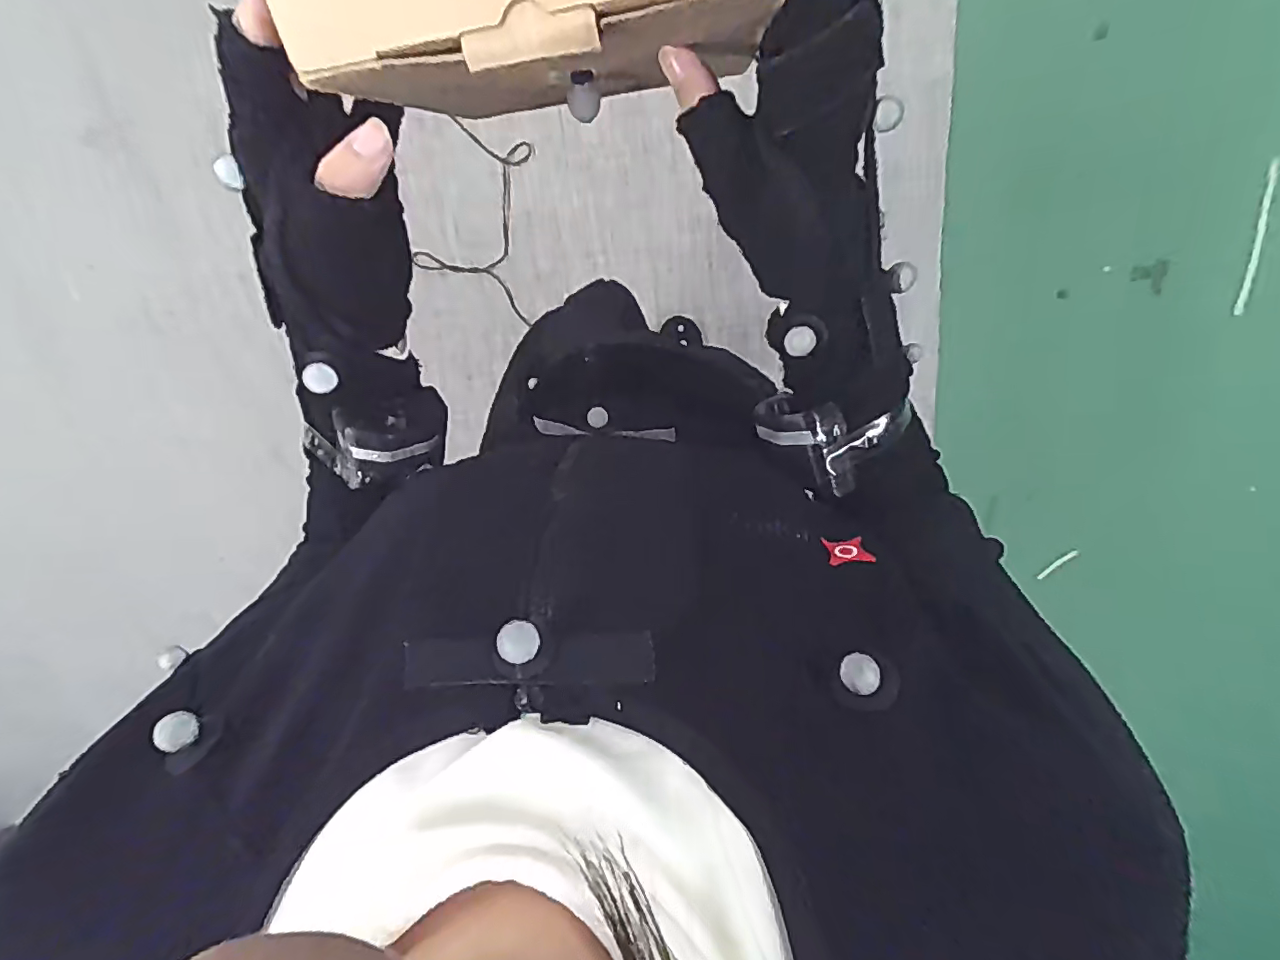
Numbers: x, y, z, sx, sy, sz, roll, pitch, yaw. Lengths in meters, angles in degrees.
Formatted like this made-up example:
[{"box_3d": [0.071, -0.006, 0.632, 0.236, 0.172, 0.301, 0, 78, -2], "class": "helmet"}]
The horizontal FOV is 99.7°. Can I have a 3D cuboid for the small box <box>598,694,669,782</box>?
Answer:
[{"box_3d": [-0.013, 0.752, 1.583, 0.179, 0.176, 0.168, -7, 109, 7], "class": "small box"}]

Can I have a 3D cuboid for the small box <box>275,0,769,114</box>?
[{"box_3d": [-0.040, -0.255, 0.206, 0.168, 0.176, 0.179, -5, 120, 10], "class": "small box"}]
